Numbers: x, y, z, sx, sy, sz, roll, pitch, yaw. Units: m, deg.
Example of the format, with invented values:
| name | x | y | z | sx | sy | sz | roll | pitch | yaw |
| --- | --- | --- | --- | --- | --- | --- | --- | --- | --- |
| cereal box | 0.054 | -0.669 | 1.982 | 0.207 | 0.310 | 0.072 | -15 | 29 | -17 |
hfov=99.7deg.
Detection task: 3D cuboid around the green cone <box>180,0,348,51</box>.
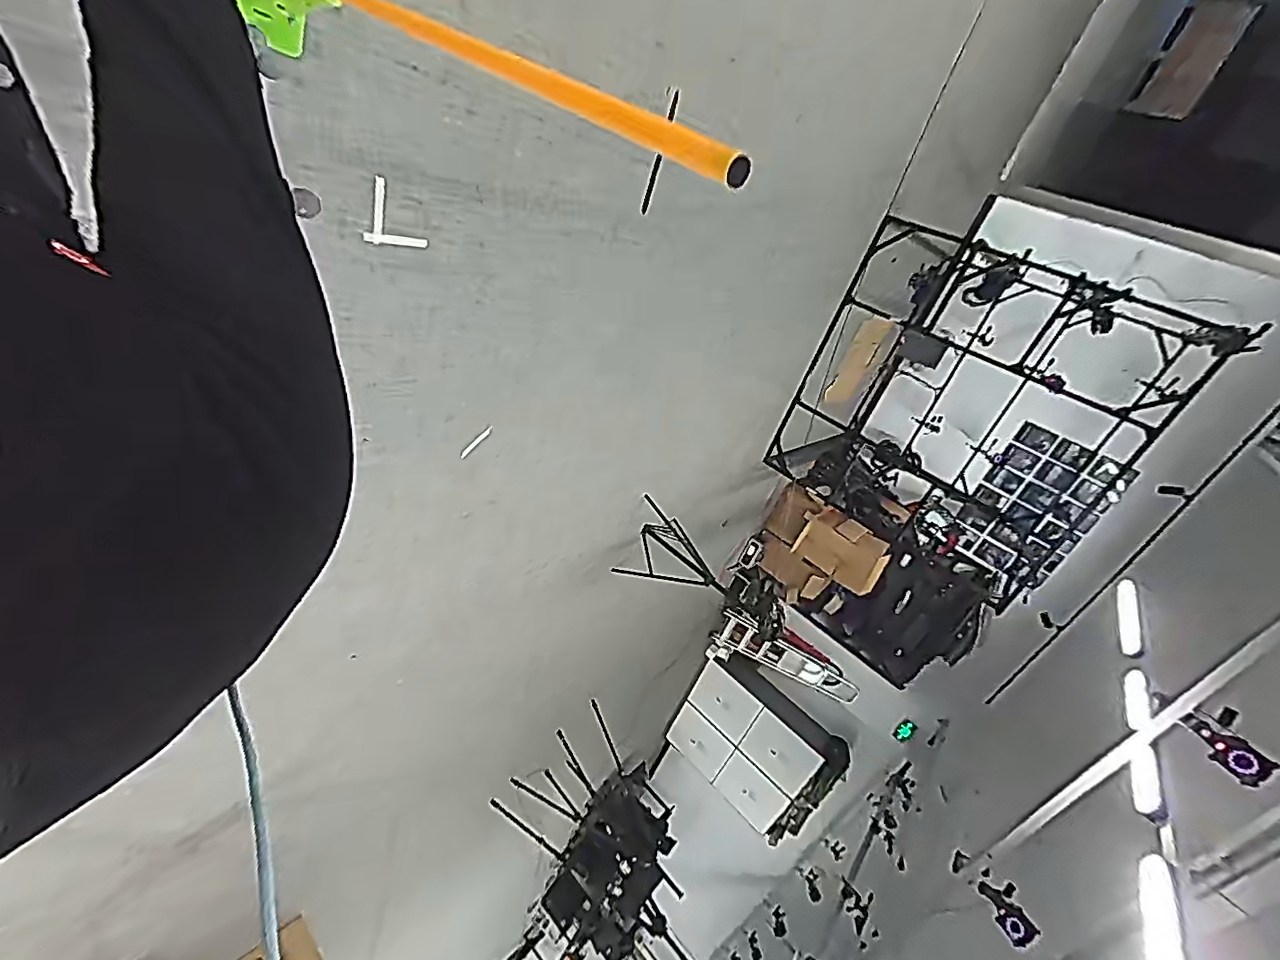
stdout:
| name | x | y | z | sx | sy | sz | roll | pitch | yaw |
| --- | --- | --- | --- | --- | --- | --- | --- | --- | --- |
| green cone | -0.600 | -0.842 | 0.904 | 0.202 | 0.368 | 0.200 | -14 | 133 | -53 |
